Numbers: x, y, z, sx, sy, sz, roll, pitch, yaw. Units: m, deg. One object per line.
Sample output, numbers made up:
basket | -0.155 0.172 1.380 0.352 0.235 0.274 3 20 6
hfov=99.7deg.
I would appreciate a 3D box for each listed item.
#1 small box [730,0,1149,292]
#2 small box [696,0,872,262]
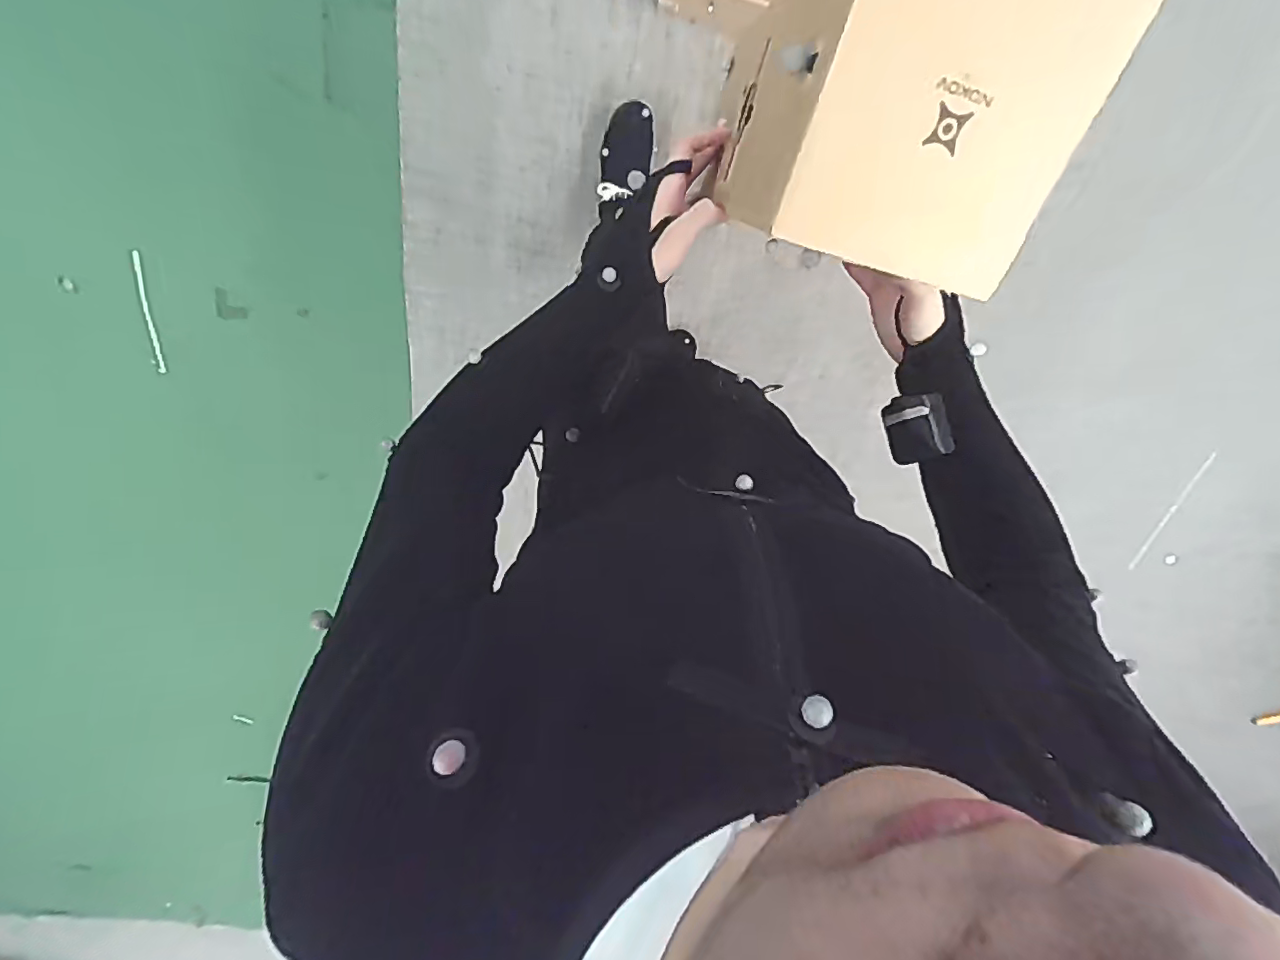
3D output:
small box | 0.174 -0.258 0.384 0.168 0.176 0.179 13 118 -10
small box | 0.165 -0.330 0.529 0.179 0.176 0.168 12 119 -10
